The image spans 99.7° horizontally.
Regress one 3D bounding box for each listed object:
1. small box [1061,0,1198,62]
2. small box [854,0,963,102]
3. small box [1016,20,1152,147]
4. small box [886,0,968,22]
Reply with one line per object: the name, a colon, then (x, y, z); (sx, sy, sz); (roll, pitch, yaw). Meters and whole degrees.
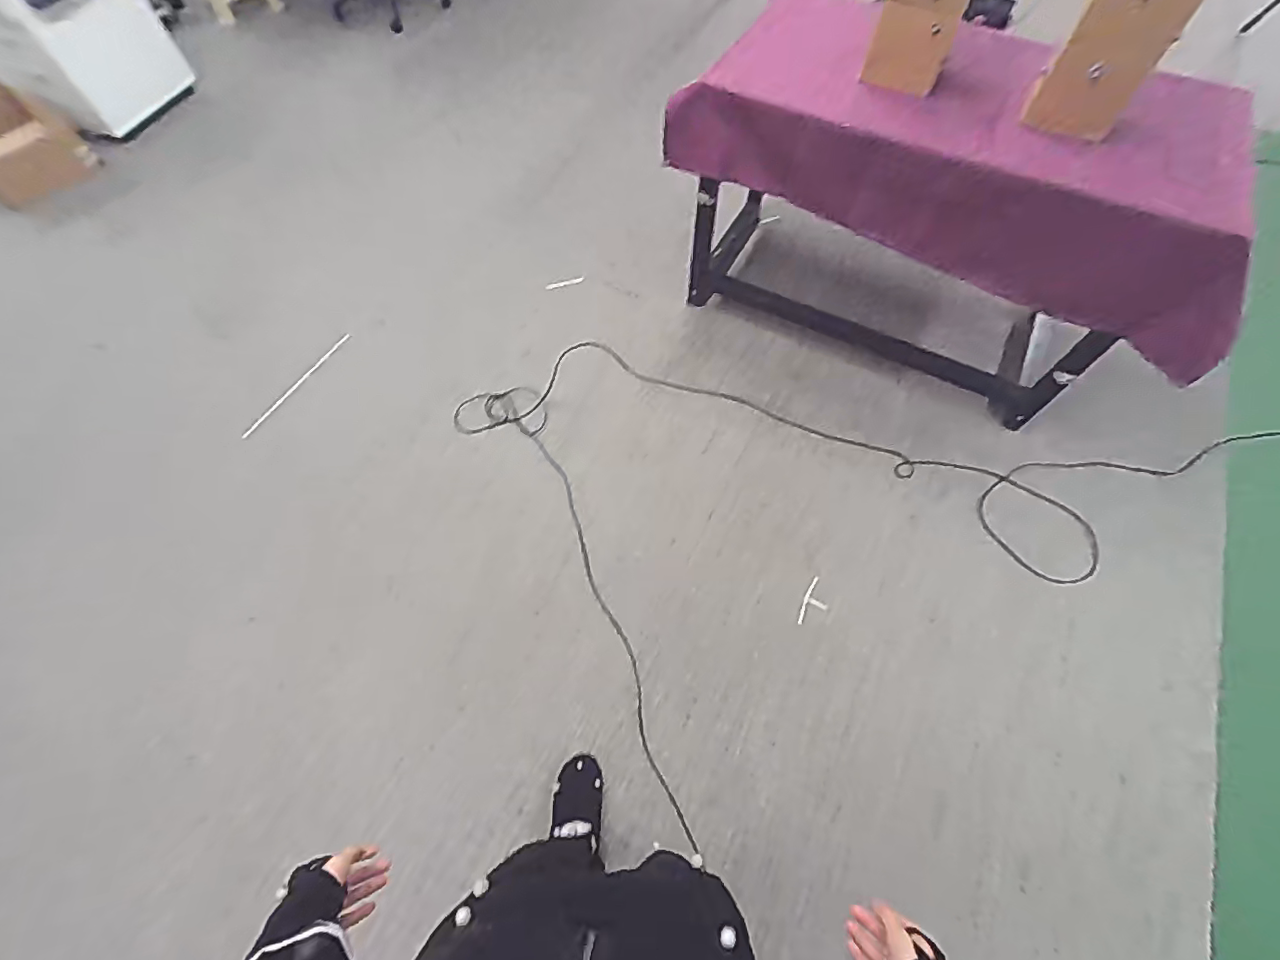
small box: (0.983, -0.960, 1.060); (0.179, 0.176, 0.168); (24, 65, 14)
small box: (0.640, -1.046, 1.296); (0.179, 0.176, 0.168); (24, 64, 12)
small box: (0.983, -0.881, 1.204); (0.179, 0.176, 0.168); (26, 65, 13)
small box: (0.649, -1.126, 1.152); (0.168, 0.176, 0.179); (24, 64, 12)
